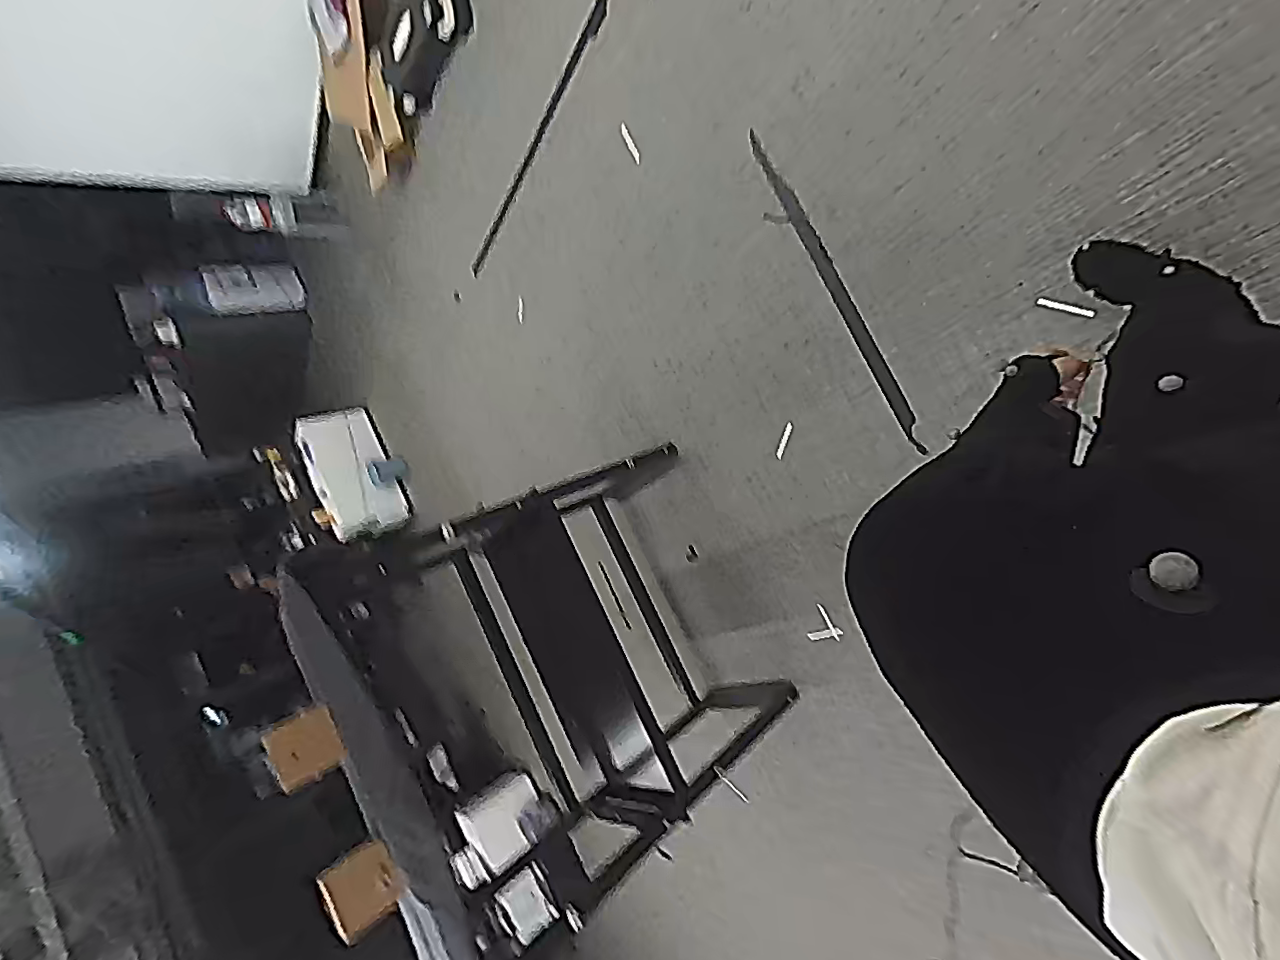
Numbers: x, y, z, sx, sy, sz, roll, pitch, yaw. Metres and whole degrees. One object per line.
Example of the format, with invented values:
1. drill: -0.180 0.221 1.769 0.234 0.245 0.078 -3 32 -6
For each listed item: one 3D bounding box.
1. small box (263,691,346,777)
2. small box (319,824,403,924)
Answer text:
1. small box: -1.022 0.770 1.651 0.168 0.176 0.179 -32 82 49
2. small box: -0.821 1.150 1.594 0.168 0.176 0.179 59 139 10
